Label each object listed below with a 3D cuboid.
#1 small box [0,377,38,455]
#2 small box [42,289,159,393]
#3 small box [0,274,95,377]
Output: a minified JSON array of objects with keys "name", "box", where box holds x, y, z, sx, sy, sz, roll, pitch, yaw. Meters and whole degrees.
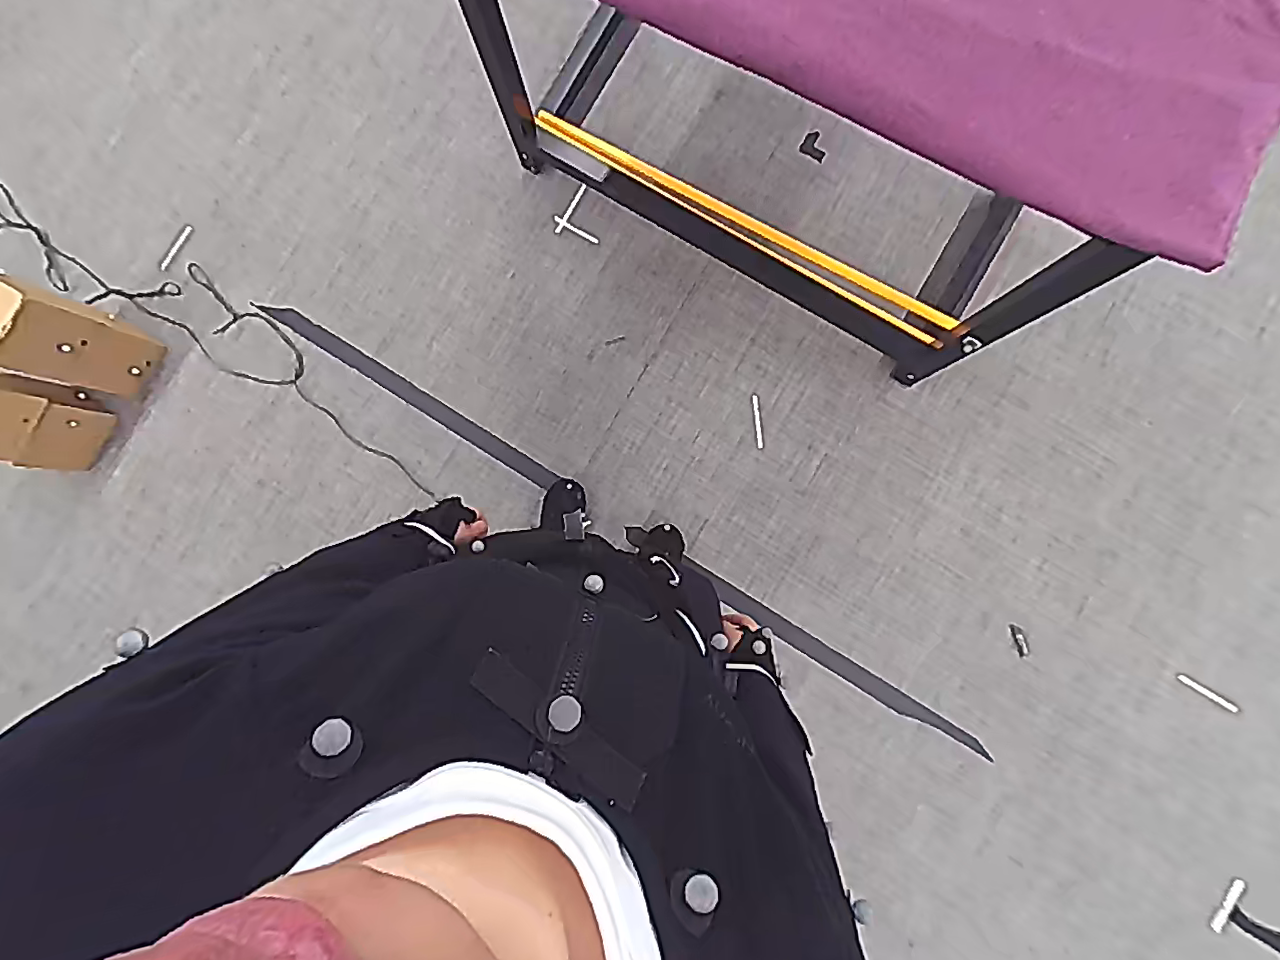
[{"name":"small box","box":[-1.508,-0.159,1.183,0.179,0.176,0.168,26,87,3]},{"name":"small box","box":[-1.387,-0.337,1.354,0.179,0.176,0.168,31,88,2]},{"name":"small box","box":[-1.388,-0.348,1.189,0.179,0.176,0.168,29,88,2]}]
